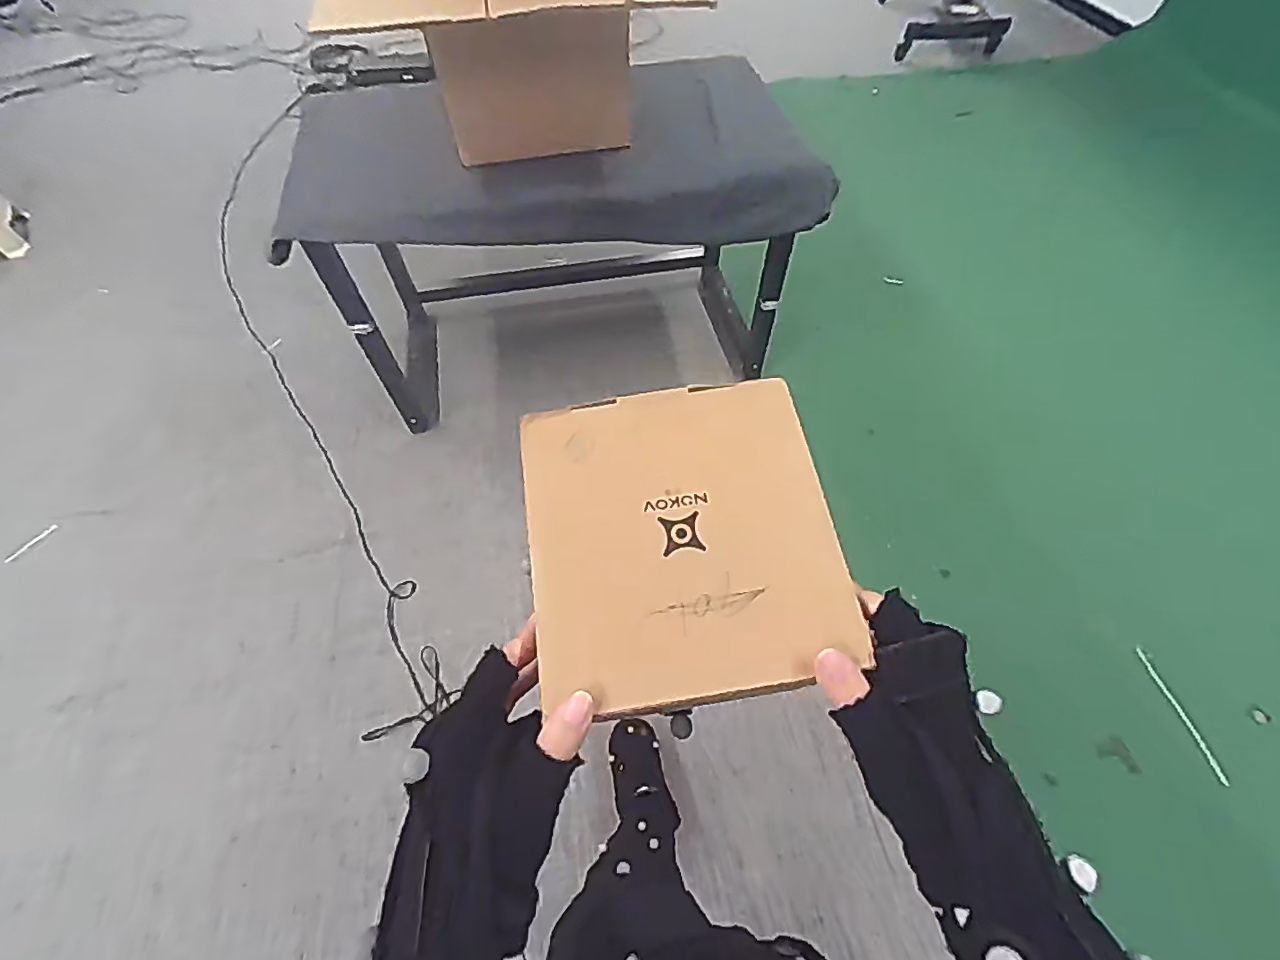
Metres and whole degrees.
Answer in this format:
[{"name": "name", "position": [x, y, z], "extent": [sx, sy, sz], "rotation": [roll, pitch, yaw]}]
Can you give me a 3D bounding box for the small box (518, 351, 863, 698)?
[{"name": "small box", "position": [0.018, 0.041, 0.366], "extent": [0.168, 0.176, 0.179], "rotation": [-8, 66, -2]}]
